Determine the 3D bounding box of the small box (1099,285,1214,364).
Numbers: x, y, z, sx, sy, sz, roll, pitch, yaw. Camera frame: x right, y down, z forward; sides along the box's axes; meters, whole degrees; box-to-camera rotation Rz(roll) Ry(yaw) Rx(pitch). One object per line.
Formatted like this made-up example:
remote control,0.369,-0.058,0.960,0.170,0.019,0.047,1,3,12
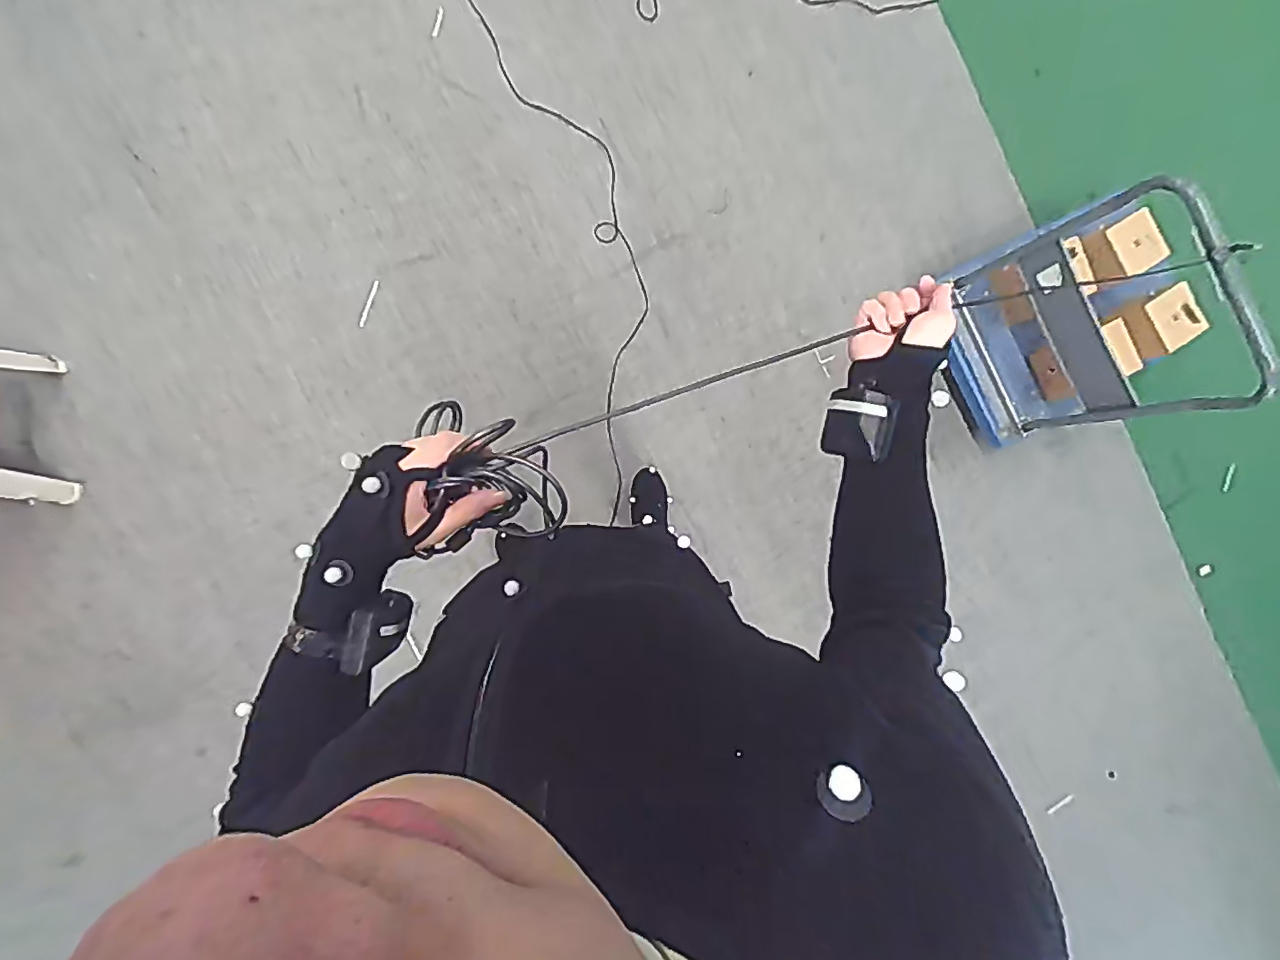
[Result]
small box,1.594,-0.469,1.679,0.179,0.176,0.168,-31,91,-8

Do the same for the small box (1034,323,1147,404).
small box,1.356,-0.348,1.636,0.179,0.176,0.168,-26,91,-9

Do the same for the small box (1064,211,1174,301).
small box,1.465,-0.685,1.670,0.179,0.176,0.168,-31,93,-9
